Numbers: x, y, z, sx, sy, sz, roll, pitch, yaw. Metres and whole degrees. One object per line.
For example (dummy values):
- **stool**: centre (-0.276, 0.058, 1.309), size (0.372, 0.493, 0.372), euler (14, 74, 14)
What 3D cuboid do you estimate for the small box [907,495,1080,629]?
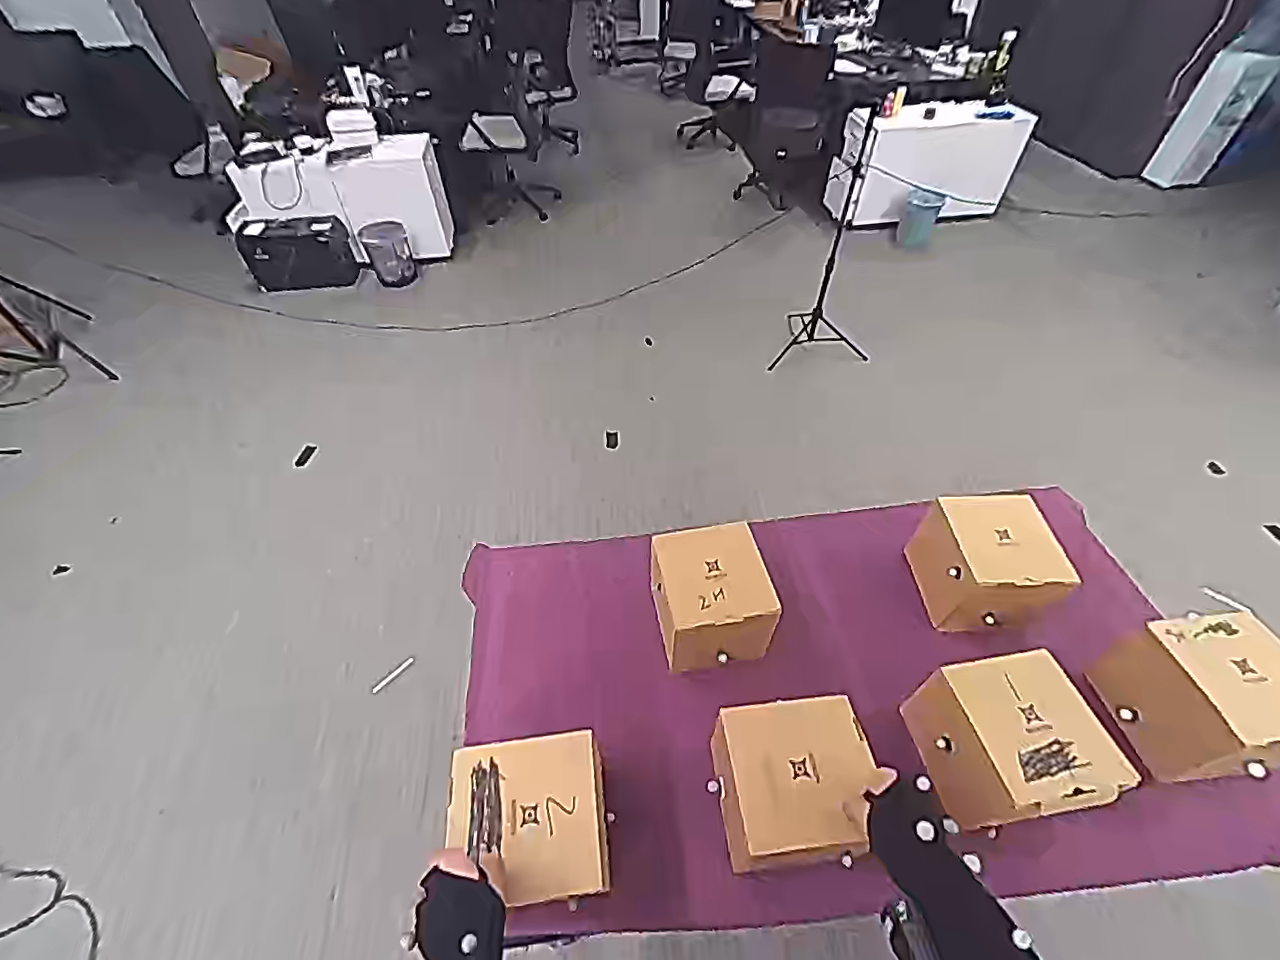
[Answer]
- **small box**: centre (0.600, 0.144, 0.950), size (0.168, 0.176, 0.179), euler (-2, 50, 0)

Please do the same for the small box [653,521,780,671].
- **small box**: centre (0.116, 0.196, 0.913), size (0.168, 0.176, 0.179), euler (-9, 49, -6)

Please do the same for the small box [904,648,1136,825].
- **small box**: centre (0.505, 0.361, 0.754), size (0.168, 0.176, 0.179), euler (-7, 47, -5)

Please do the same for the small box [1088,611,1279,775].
- **small box**: centre (0.823, 0.314, 0.786), size (0.168, 0.176, 0.179), euler (-4, 47, -2)

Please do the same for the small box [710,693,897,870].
- **small box**: centre (0.201, 0.404, 0.723), size (0.179, 0.176, 0.168), euler (-4, 47, -4)
